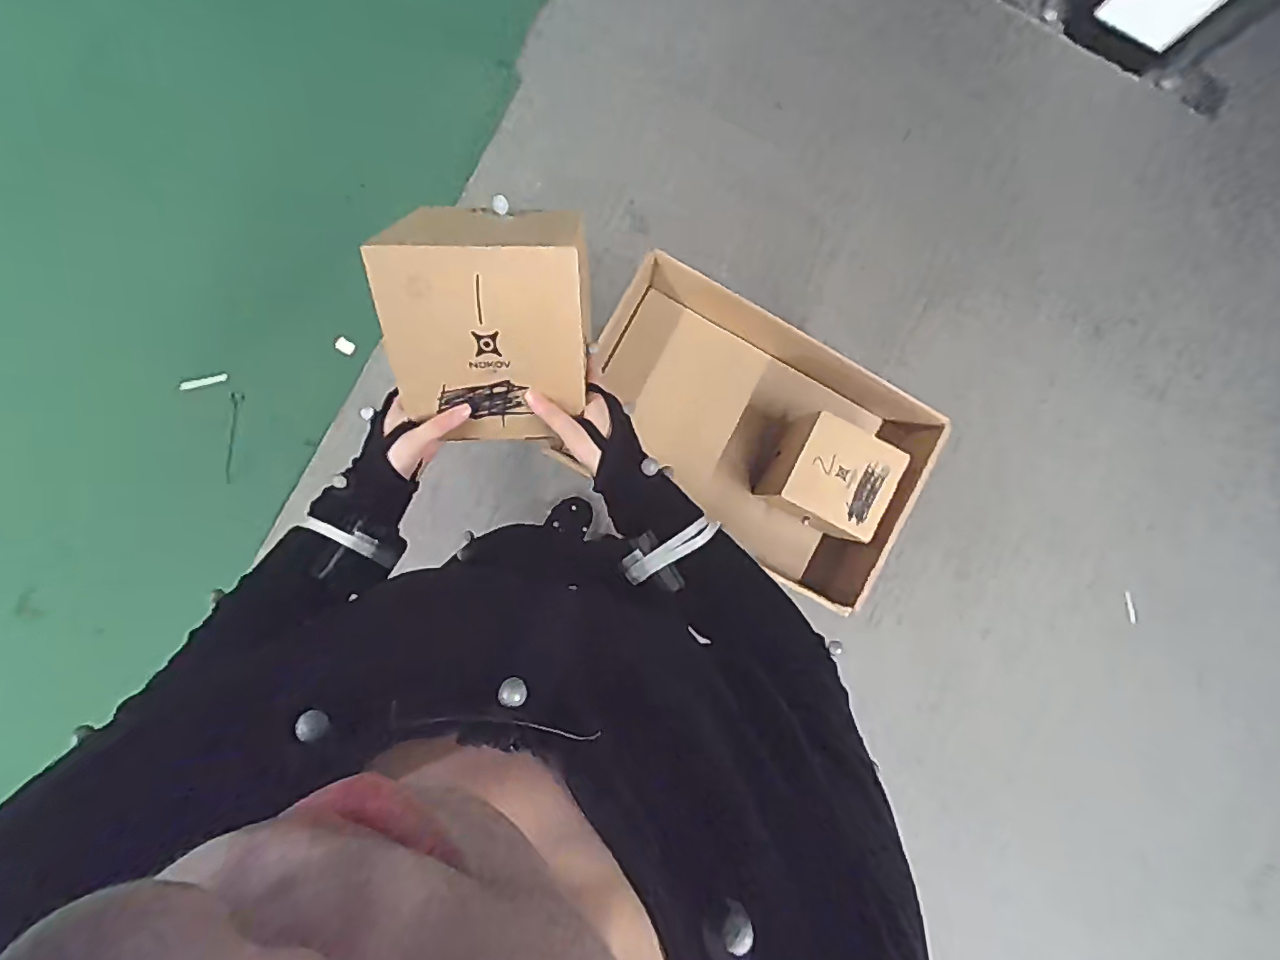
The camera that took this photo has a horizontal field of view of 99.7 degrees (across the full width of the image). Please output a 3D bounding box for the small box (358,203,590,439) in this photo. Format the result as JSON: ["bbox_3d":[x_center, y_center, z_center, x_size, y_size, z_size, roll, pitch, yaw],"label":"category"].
[{"bbox_3d":[-0.136,-0.157,0.524,0.168,0.176,0.179,-1,126,-2],"label":"small box"}]
